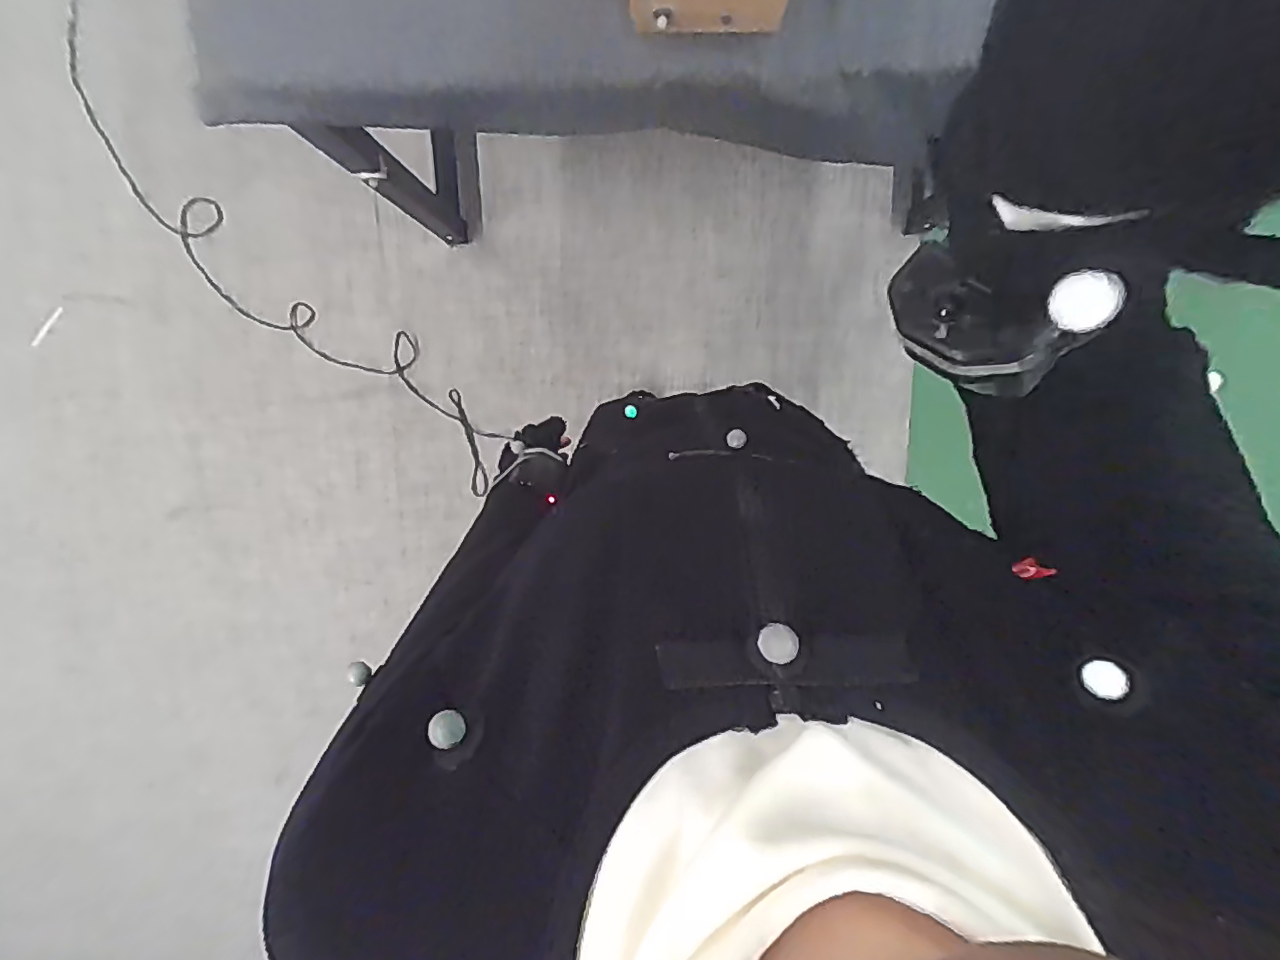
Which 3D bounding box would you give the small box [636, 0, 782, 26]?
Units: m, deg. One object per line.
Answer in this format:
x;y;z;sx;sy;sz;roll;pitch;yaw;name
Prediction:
0.075;-0.593;0.532;0.168;0.176;0.179;1;97;1;small box
